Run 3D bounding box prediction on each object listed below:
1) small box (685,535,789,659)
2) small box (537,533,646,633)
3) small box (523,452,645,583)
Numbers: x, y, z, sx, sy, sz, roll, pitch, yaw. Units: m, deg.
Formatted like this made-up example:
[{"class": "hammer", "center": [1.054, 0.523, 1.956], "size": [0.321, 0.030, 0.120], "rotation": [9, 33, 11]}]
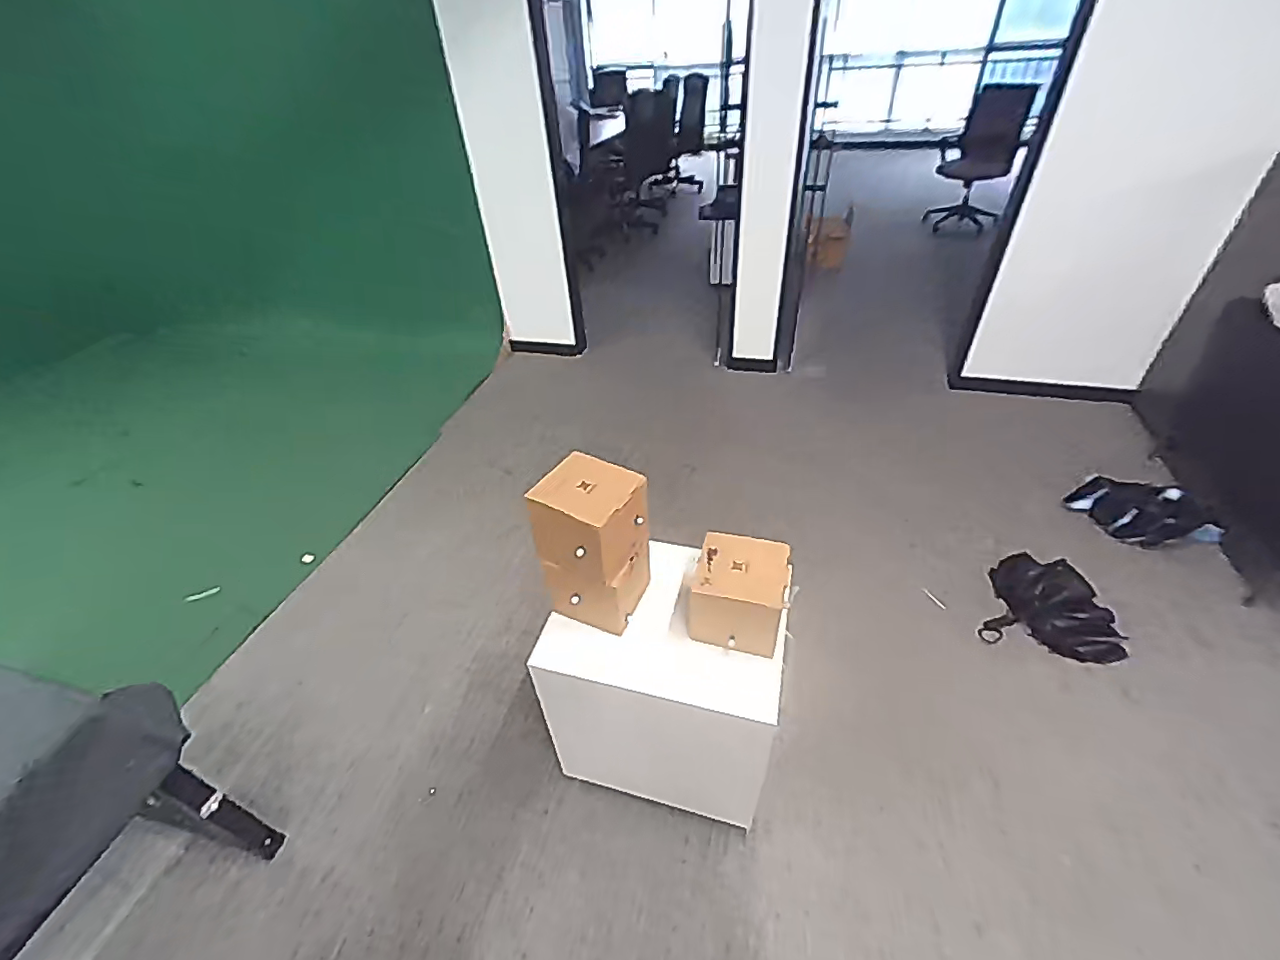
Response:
[{"class": "small box", "center": [0.197, 0.242, 1.111], "size": [0.179, 0.176, 0.168], "rotation": [10, 41, 14]}, {"class": "small box", "center": [-0.096, 0.203, 1.166], "size": [0.179, 0.176, 0.168], "rotation": [15, 42, 19]}, {"class": "small box", "center": [-0.103, 0.076, 1.065], "size": [0.179, 0.176, 0.168], "rotation": [19, 42, 24]}]
